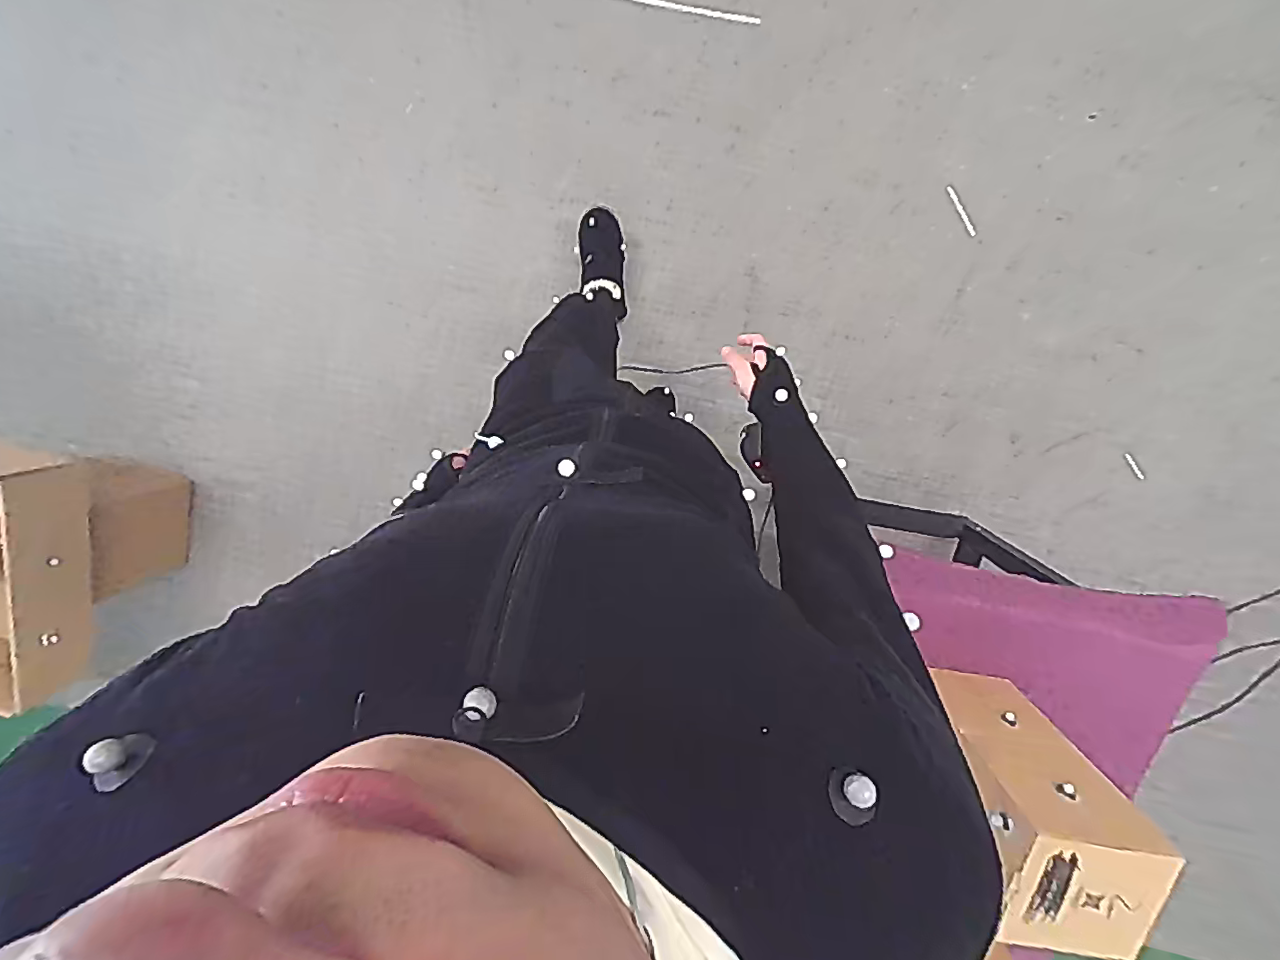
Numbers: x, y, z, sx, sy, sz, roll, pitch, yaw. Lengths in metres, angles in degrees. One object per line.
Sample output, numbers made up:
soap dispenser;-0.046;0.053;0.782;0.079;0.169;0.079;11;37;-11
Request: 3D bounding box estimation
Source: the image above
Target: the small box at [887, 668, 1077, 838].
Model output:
small box;0.533;0.428;0.871;0.179;0.176;0.168;9;104;1
